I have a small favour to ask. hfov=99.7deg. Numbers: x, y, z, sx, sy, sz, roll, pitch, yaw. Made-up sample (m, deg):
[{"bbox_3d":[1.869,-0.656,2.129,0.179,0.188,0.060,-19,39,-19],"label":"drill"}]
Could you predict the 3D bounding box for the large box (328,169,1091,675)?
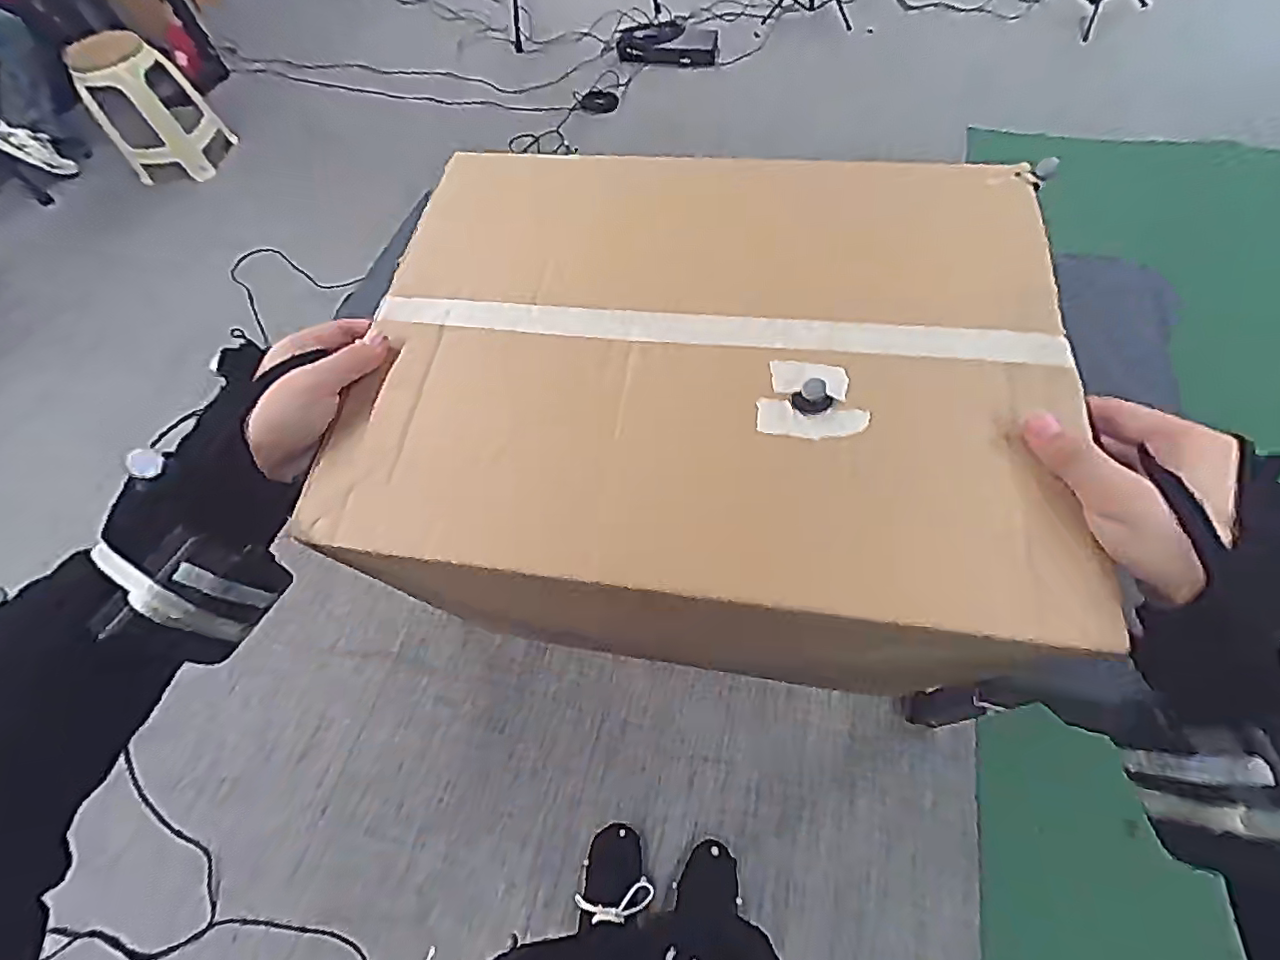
[{"bbox_3d":[0.048,-0.029,0.474,0.408,0.320,0.320,6,66,7],"label":"large box"}]
